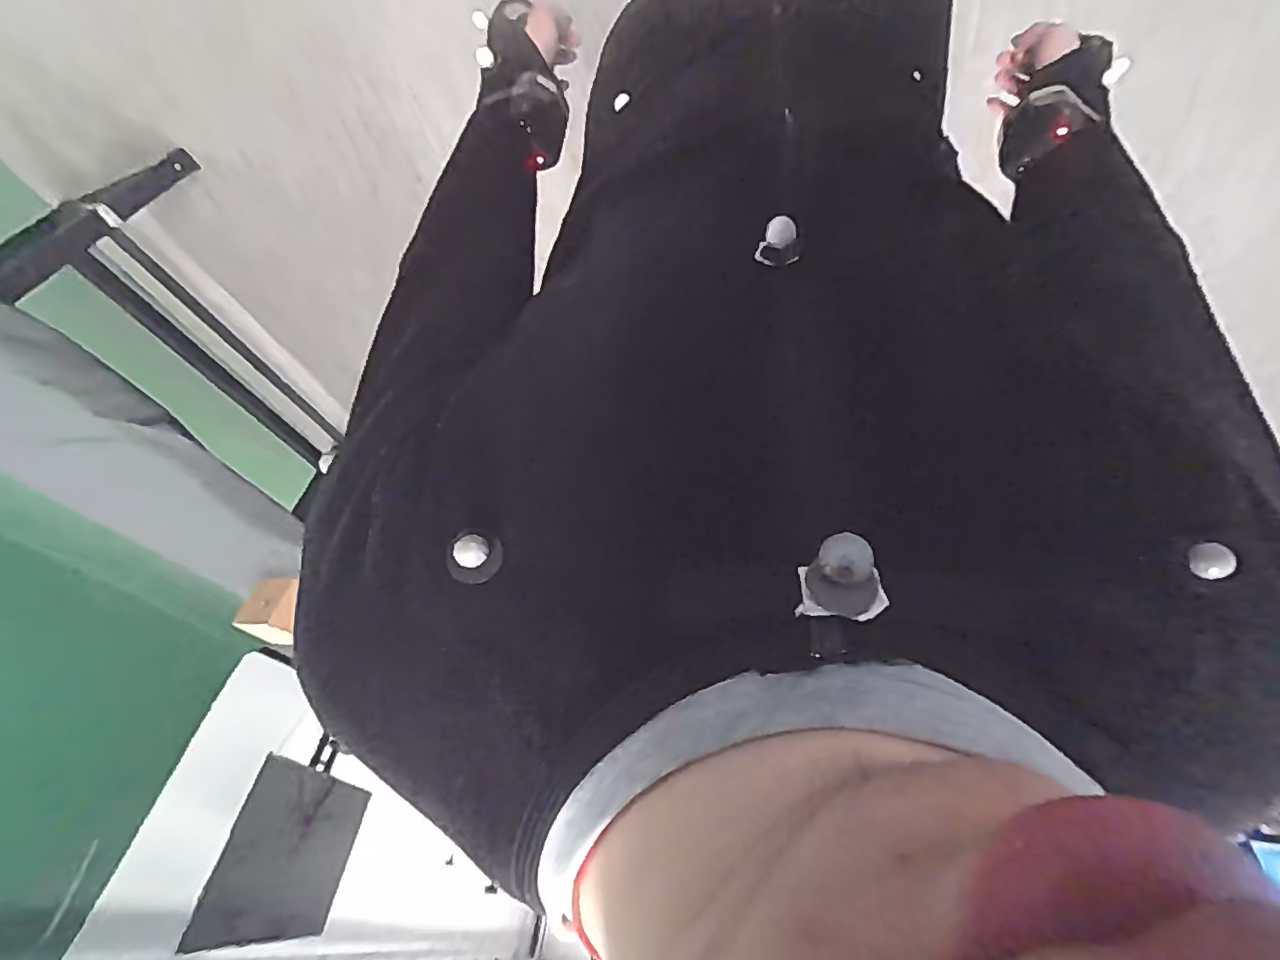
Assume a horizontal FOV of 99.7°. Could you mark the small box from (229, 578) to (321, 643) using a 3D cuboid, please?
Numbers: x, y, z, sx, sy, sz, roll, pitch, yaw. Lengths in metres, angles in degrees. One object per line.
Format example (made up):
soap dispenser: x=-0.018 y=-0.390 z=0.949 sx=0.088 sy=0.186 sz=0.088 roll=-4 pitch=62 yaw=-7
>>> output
small box: x=-1.231 y=0.443 z=1.844 sx=0.179 sy=0.176 sz=0.168 roll=-7 pitch=140 yaw=20
